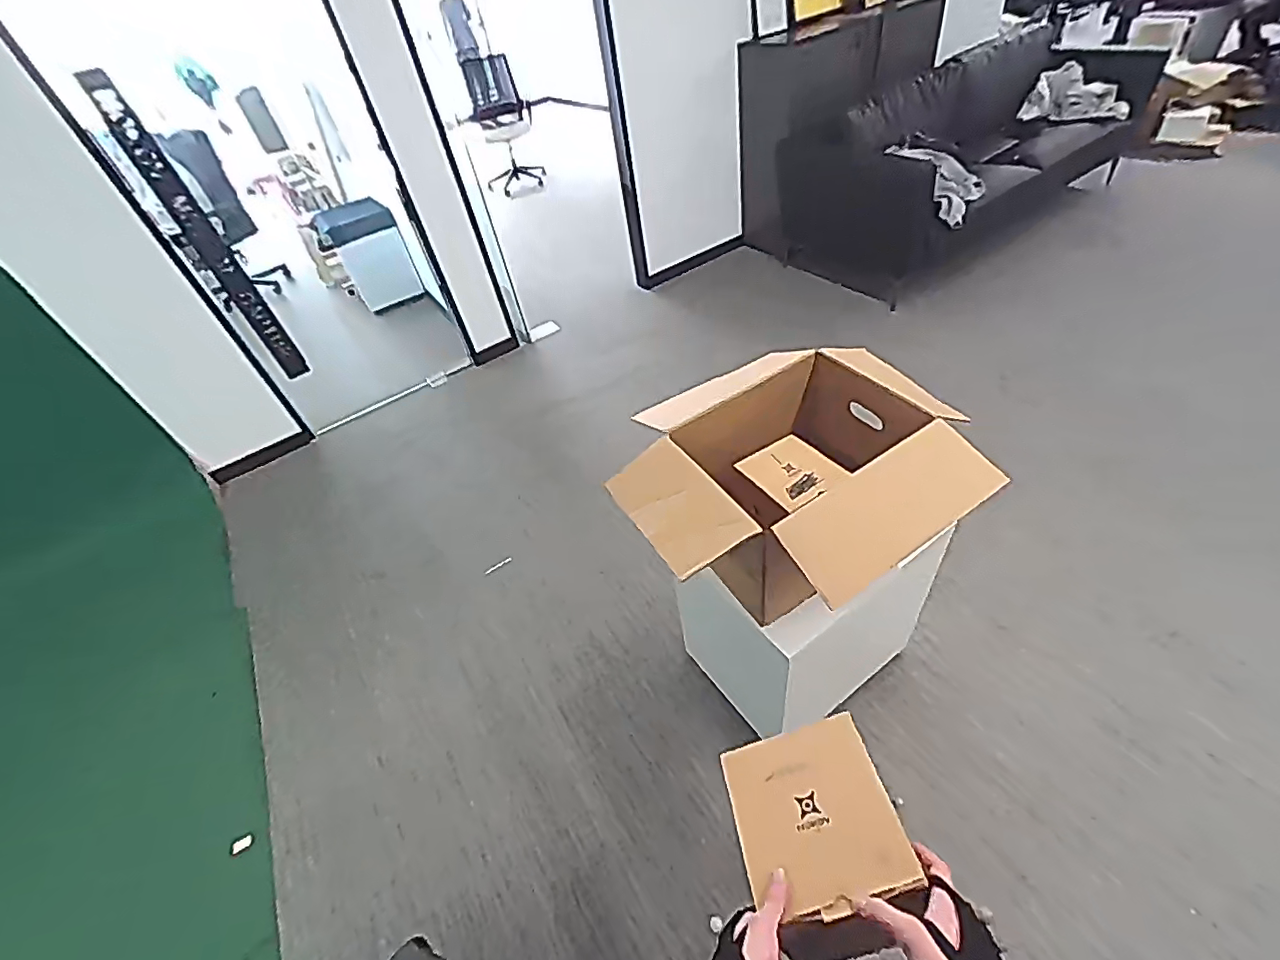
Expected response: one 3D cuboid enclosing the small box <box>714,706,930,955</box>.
[{"bbox_3d":[0.203,0.402,0.616,0.168,0.176,0.179,-23,32,7],"label":"small box"}]
